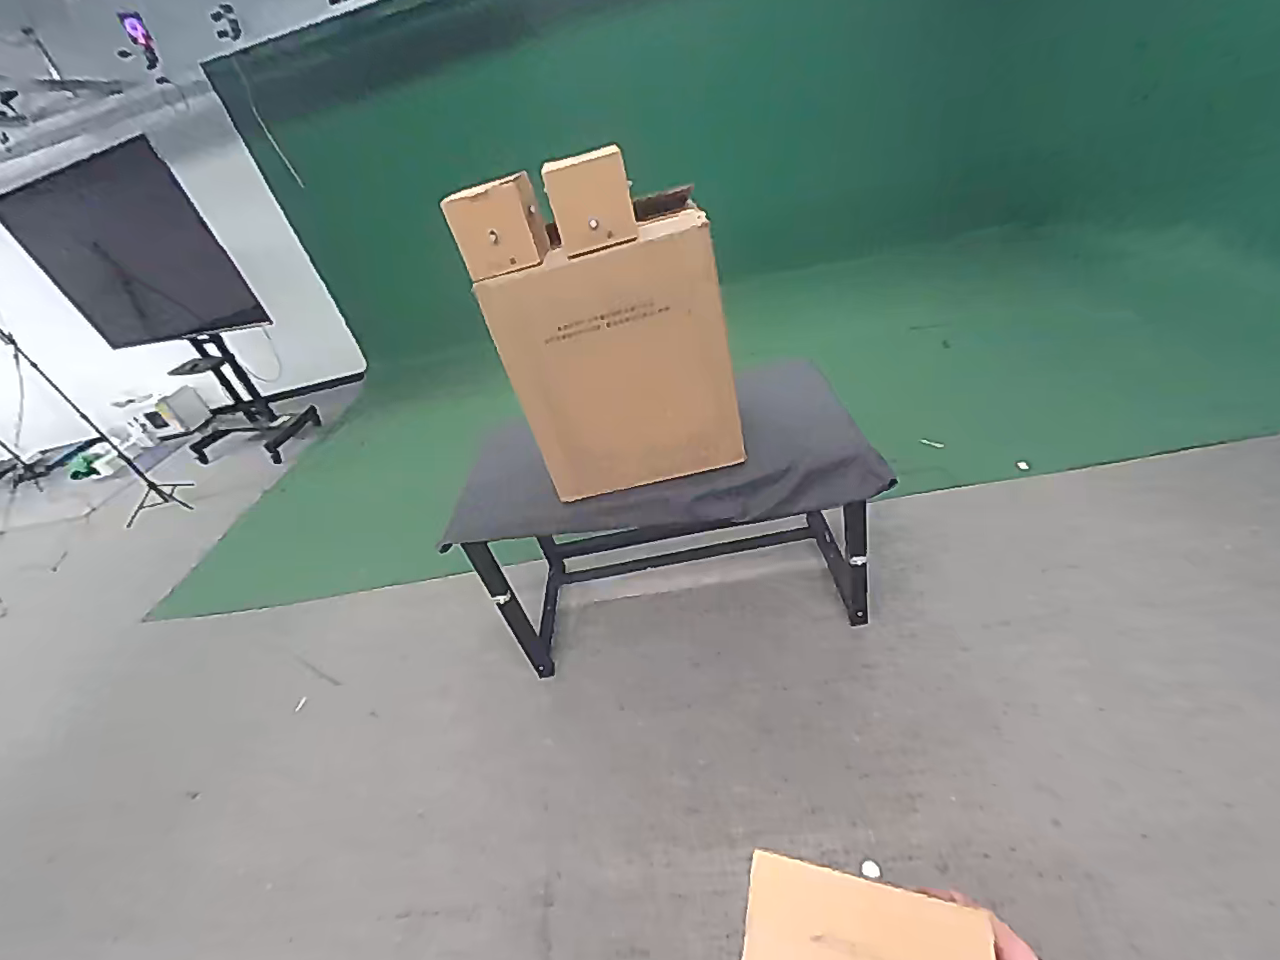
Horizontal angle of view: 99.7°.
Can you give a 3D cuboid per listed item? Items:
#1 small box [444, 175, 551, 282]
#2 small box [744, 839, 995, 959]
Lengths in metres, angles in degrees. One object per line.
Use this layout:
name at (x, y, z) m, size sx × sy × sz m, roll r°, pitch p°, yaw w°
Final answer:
small box at (-0.313, -0.567, 1.228) m, size 0.168 × 0.176 × 0.179 m, roll -12°, pitch 35°, yaw 8°
small box at (0.171, 0.412, 0.425) m, size 0.168 × 0.176 × 0.179 m, roll 3°, pitch 54°, yaw 19°
